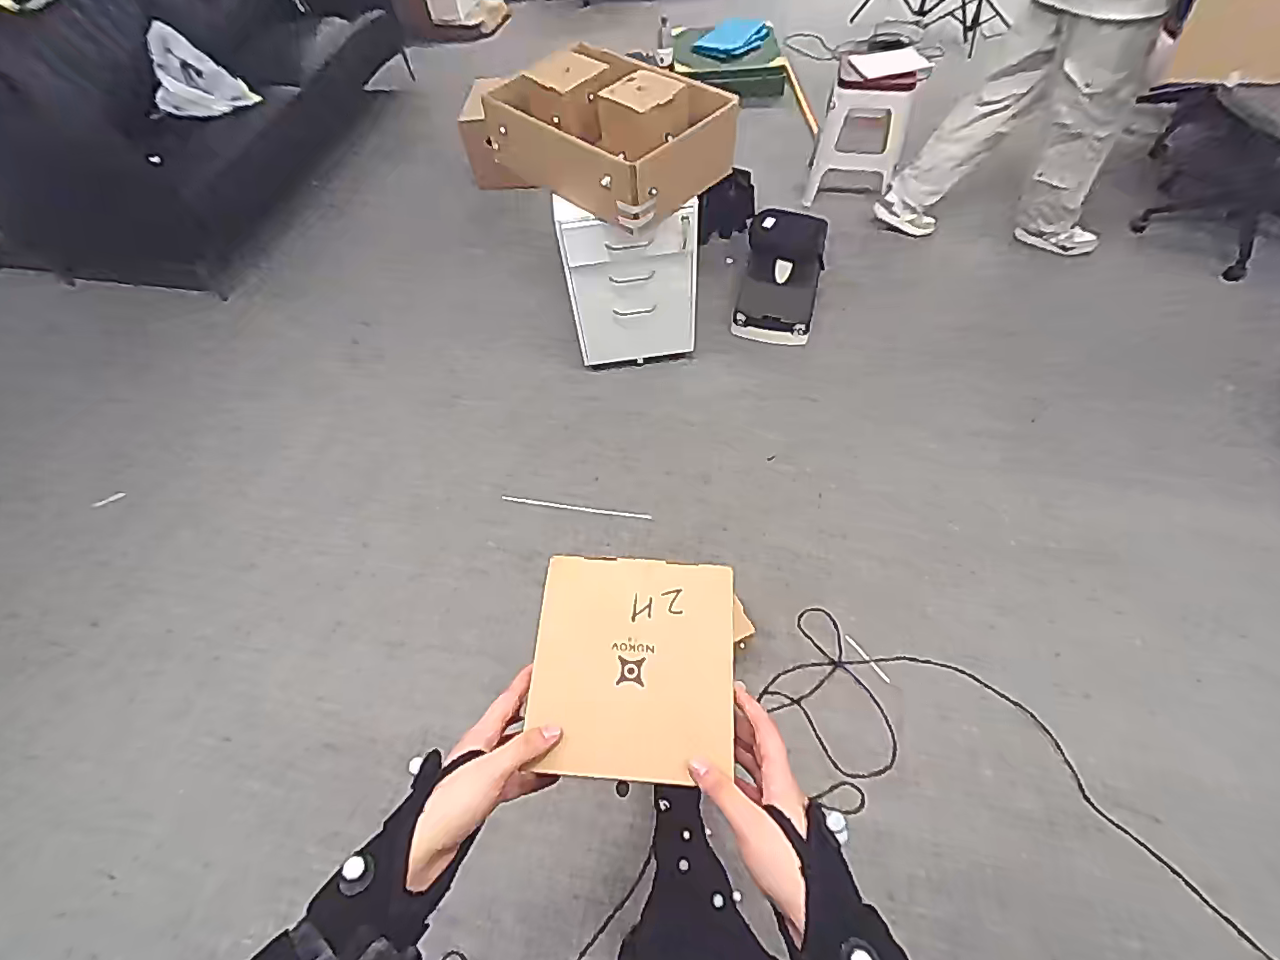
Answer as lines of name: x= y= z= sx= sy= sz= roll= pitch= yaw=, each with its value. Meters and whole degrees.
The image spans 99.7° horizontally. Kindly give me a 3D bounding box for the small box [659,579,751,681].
small box: x=0.161 y=0.384 z=1.366 sx=0.179 sy=0.176 sz=0.168 roll=-22 pitch=58 yaw=-10
